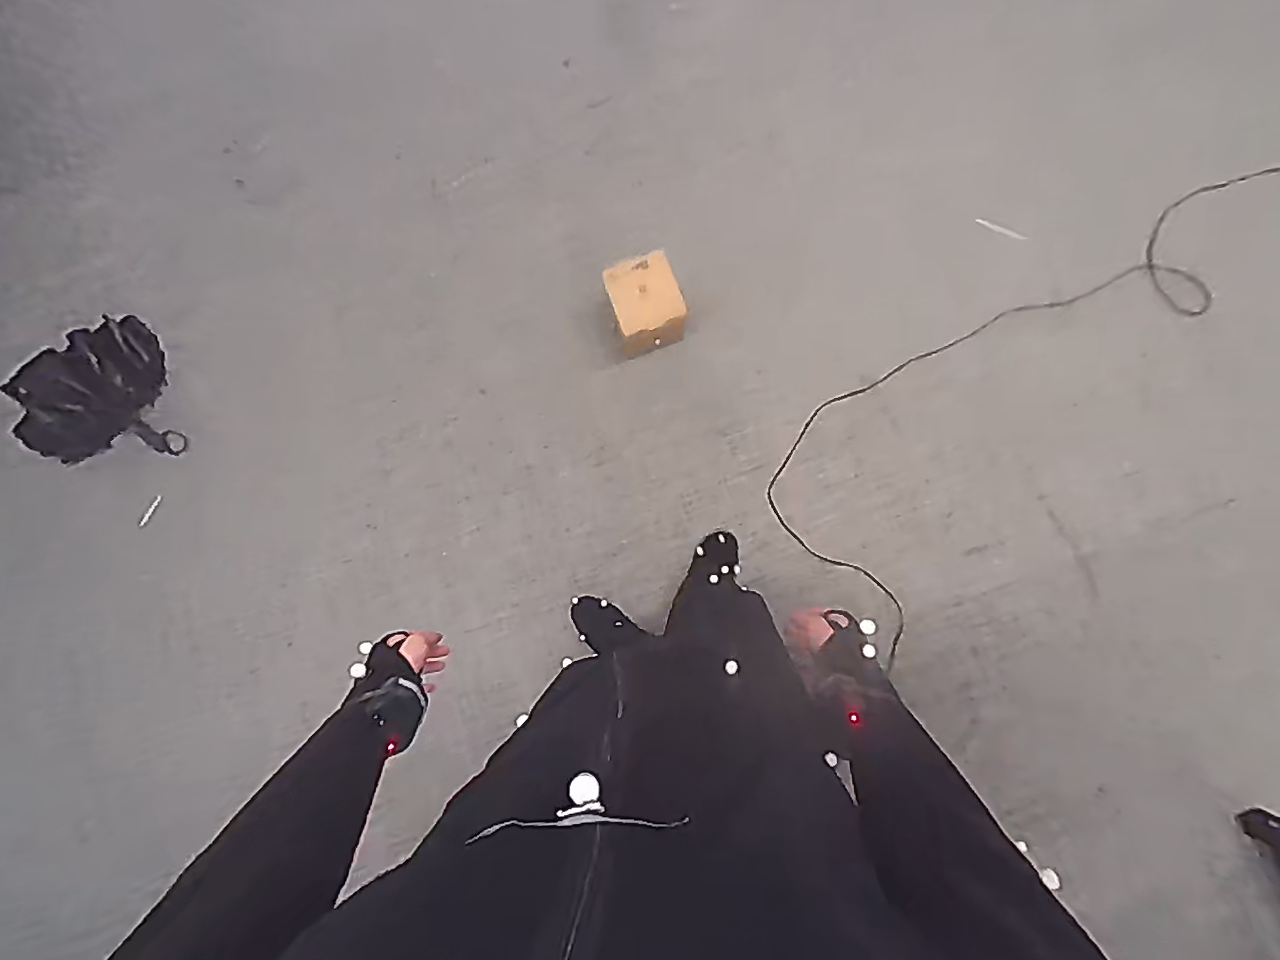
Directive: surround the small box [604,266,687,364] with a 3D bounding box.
[{"bbox_3d":[0.017,-0.417,1.409,0.168,0.176,0.179,-20,84,0],"label":"small box"}]
